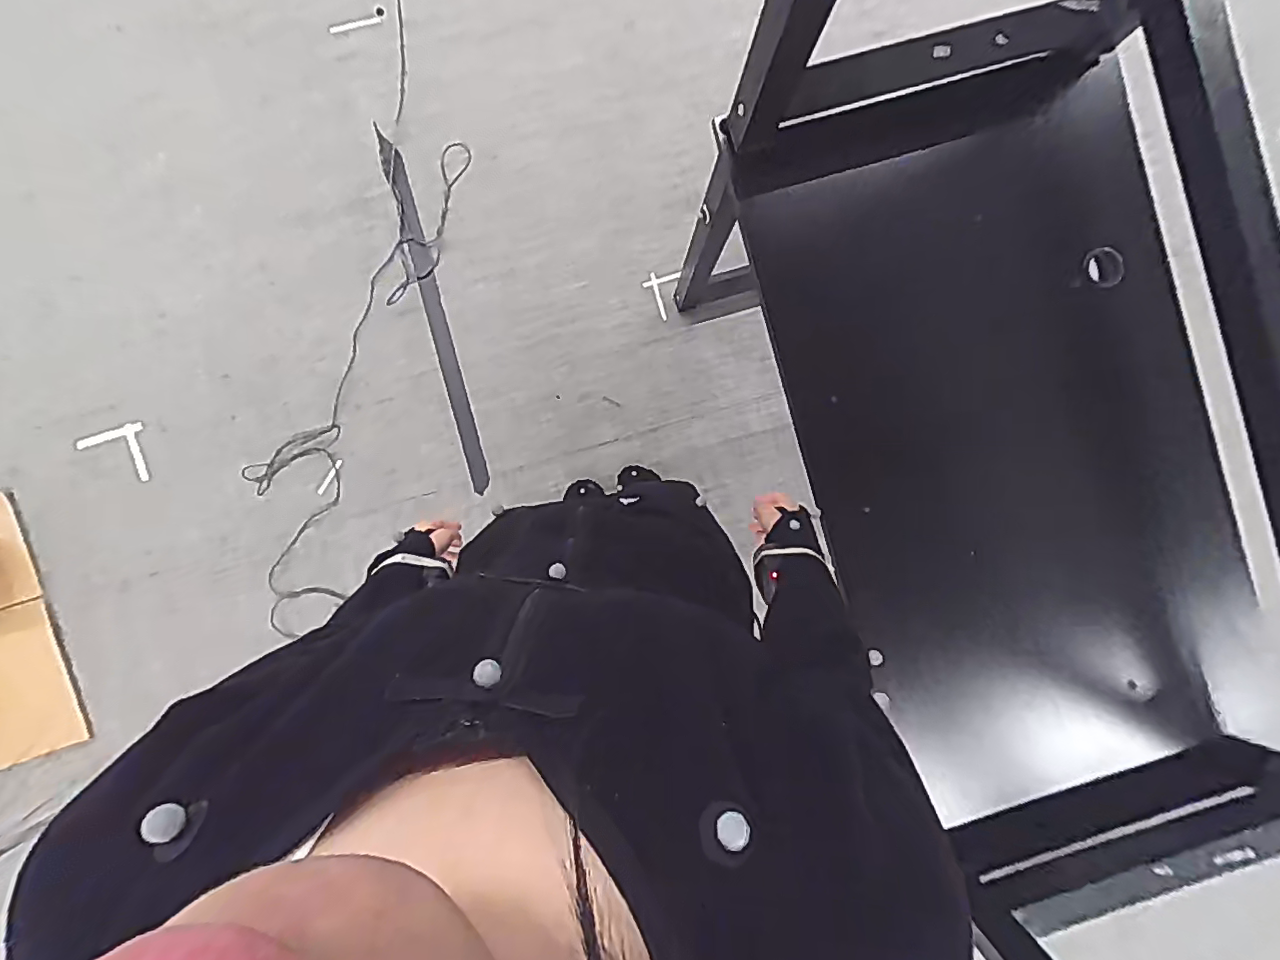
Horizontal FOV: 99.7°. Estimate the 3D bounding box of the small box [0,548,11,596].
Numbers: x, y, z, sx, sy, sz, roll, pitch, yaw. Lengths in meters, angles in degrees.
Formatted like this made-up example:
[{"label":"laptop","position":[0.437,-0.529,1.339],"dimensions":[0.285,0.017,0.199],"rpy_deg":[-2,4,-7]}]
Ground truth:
[{"label":"small box","position":[-1.744,0.242,1.331],"dimensions":[0.179,0.176,0.168],"rpy_deg":[-16,92,-3]}]
